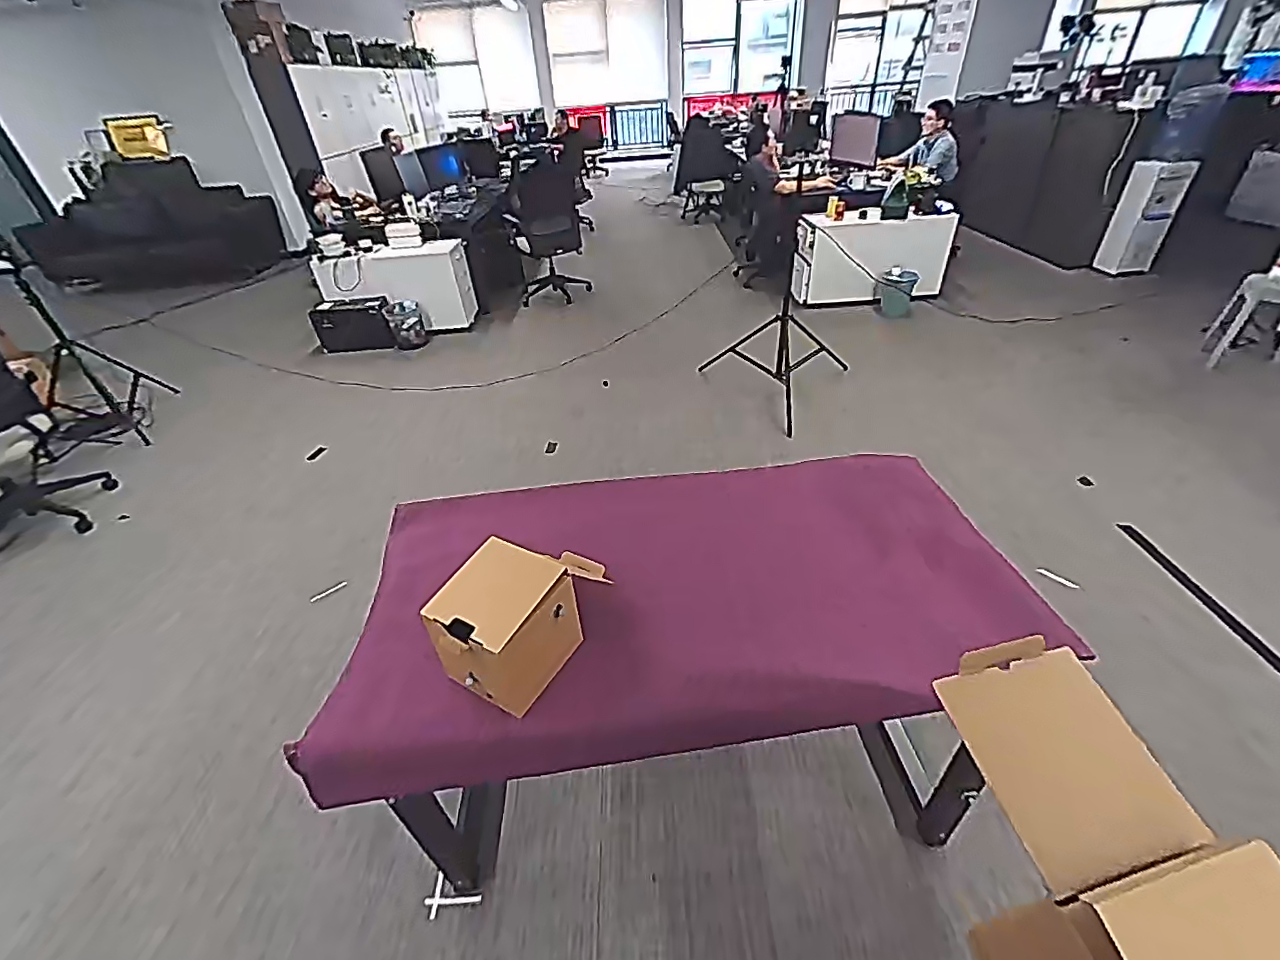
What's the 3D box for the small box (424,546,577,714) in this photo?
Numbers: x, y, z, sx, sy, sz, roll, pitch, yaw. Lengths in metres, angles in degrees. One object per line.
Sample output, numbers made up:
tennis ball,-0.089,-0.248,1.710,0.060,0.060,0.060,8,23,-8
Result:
small box,-0.219,0.246,0.900,0.168,0.176,0.179,16,40,27
